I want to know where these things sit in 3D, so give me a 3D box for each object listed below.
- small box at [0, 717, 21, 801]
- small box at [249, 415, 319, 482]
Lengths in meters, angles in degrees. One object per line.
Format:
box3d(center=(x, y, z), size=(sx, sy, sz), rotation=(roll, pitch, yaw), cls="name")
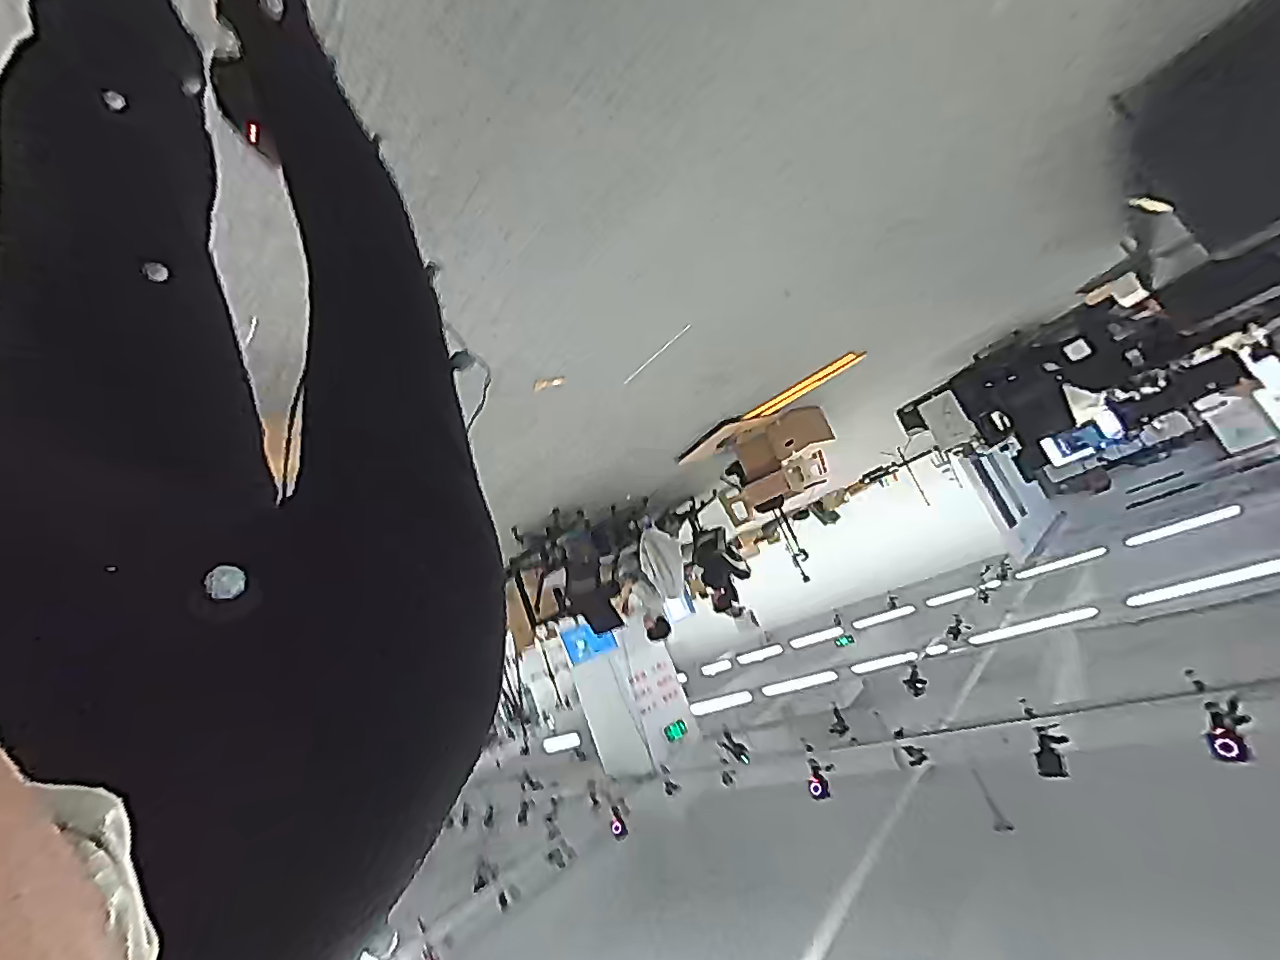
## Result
box3d(center=(-1.495, 0.640, 1.178), size=(0.179, 0.176, 0.168), rotation=(-31, 166, 33), cls="small box")
box3d(center=(-1.220, -0.113, 1.848), size=(0.168, 0.176, 0.179), rotation=(-11, 162, -40), cls="small box")
